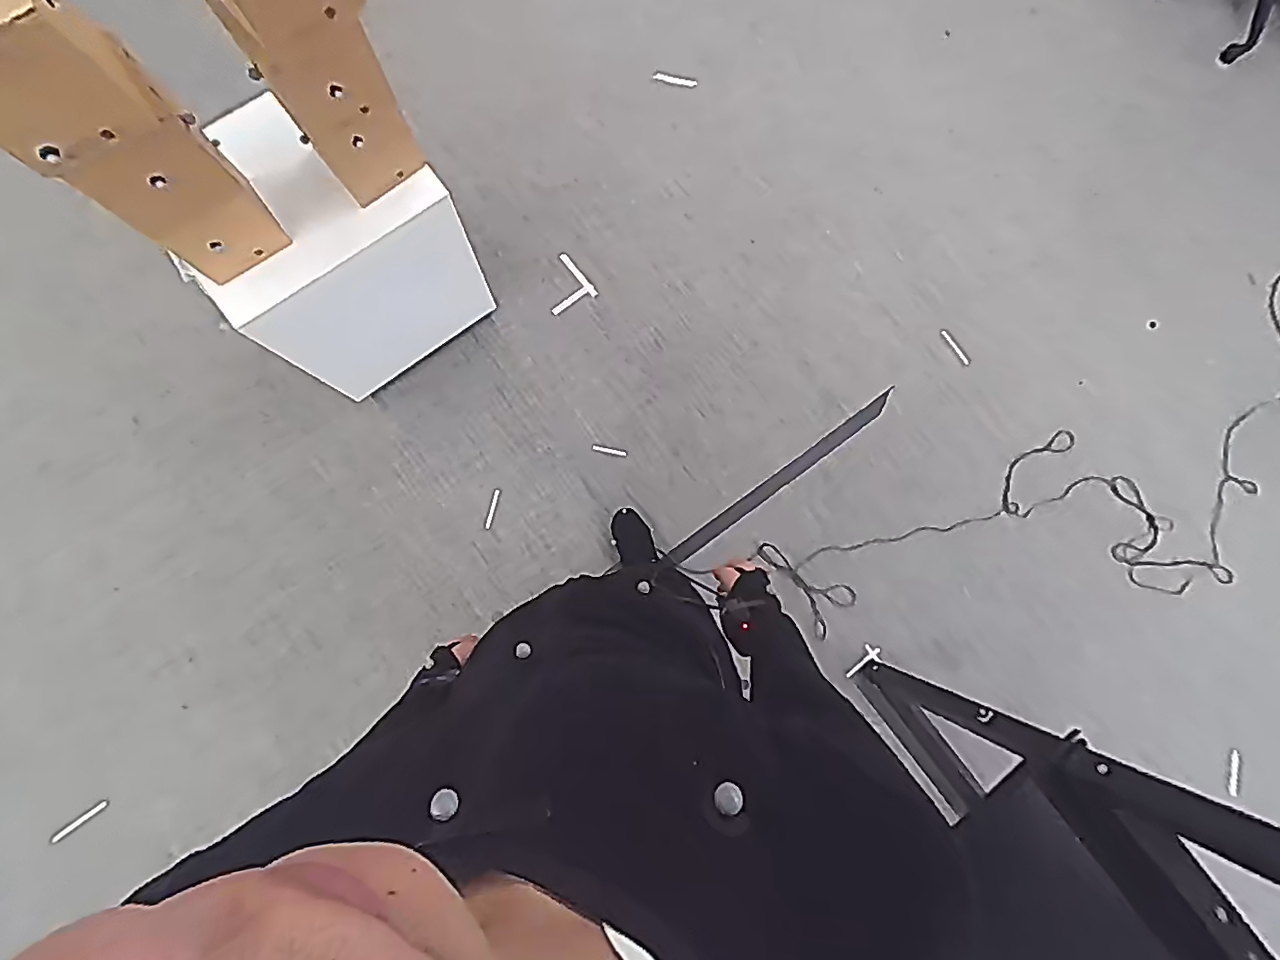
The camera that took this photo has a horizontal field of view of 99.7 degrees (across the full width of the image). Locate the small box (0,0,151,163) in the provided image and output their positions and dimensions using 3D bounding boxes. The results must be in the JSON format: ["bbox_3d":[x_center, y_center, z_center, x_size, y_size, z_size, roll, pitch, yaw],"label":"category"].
[{"bbox_3d":[-0.780,-0.536,0.672,0.168,0.176,0.179,-33,86,-7],"label":"small box"}]

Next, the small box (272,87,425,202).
[{"bbox_3d":[-0.550,-0.684,1.036,0.168,0.176,0.179,-40,87,-6],"label":"small box"}]

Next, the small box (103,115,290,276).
[{"bbox_3d":[-0.801,-0.508,1.000,0.168,0.176,0.179,-37,87,-8],"label":"small box"}]

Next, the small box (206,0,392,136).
[{"bbox_3d":[-0.539,-0.701,0.872,0.168,0.176,0.179,-39,88,-7],"label":"small box"}]

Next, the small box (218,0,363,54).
[{"bbox_3d":[-0.509,-0.718,0.712,0.168,0.176,0.179,-44,88,-8],"label":"small box"}]
